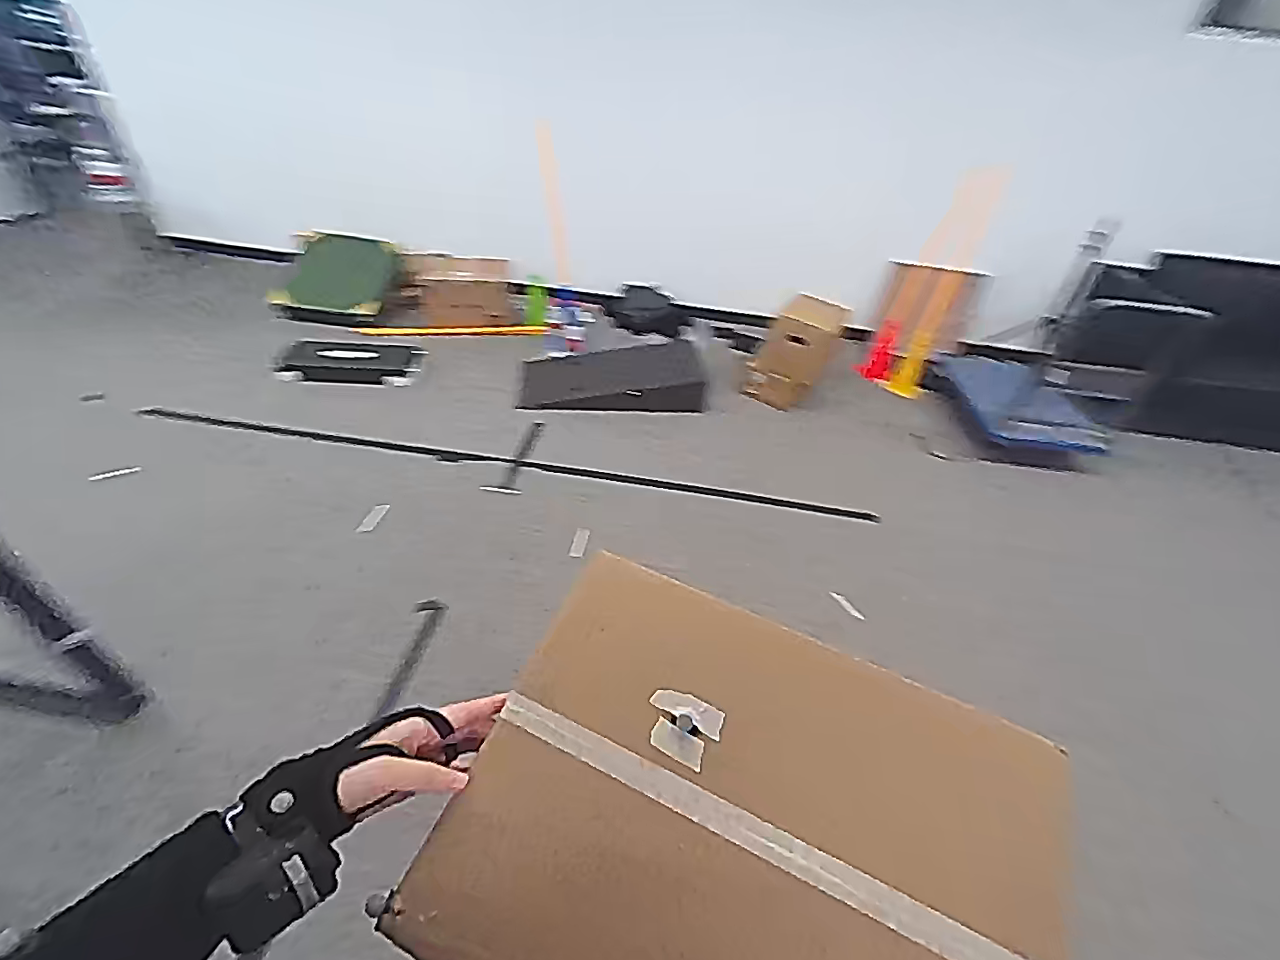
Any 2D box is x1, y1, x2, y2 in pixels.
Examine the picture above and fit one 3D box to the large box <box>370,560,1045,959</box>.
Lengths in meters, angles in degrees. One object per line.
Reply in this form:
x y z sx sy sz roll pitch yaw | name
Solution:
0.070 0.333 0.500 0.408 0.320 0.320 19 57 16 | large box
